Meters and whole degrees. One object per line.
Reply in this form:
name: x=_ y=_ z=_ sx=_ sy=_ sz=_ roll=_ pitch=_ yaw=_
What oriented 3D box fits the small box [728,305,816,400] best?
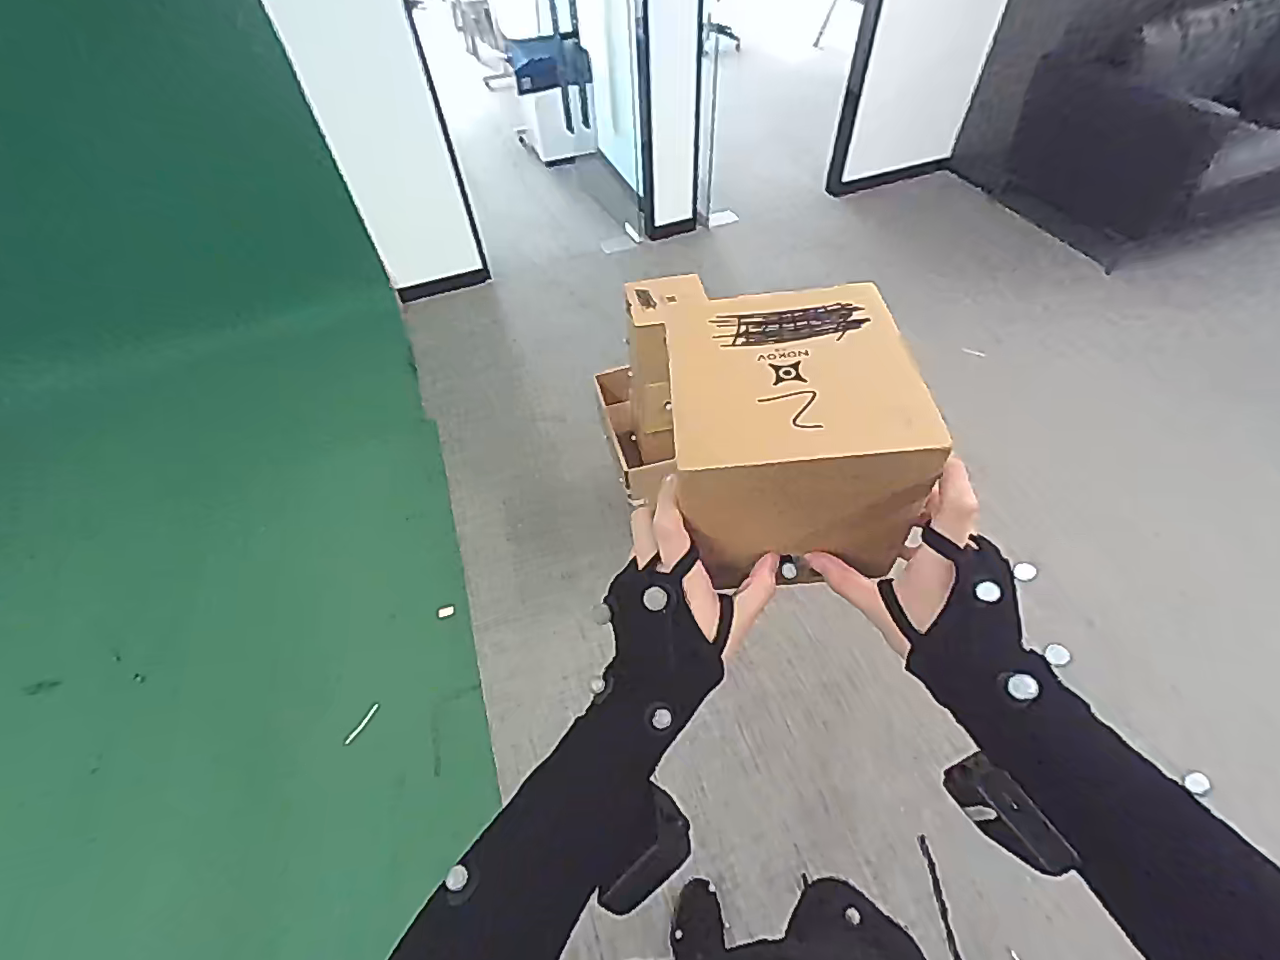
small box: x=0.340 y=-0.329 z=1.425 sx=0.168 sy=0.176 sz=0.179 roll=-13 pitch=52 yaw=-7

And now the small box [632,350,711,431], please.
small box: x=0.079 y=-0.241 z=1.377 sx=0.168 sy=0.176 sz=0.179 roll=-11 pitch=52 yaw=-5

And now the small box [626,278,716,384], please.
small box: x=0.069 y=-0.338 z=1.245 sx=0.179 sy=0.176 sz=0.168 roll=-9 pitch=52 yaw=-4
